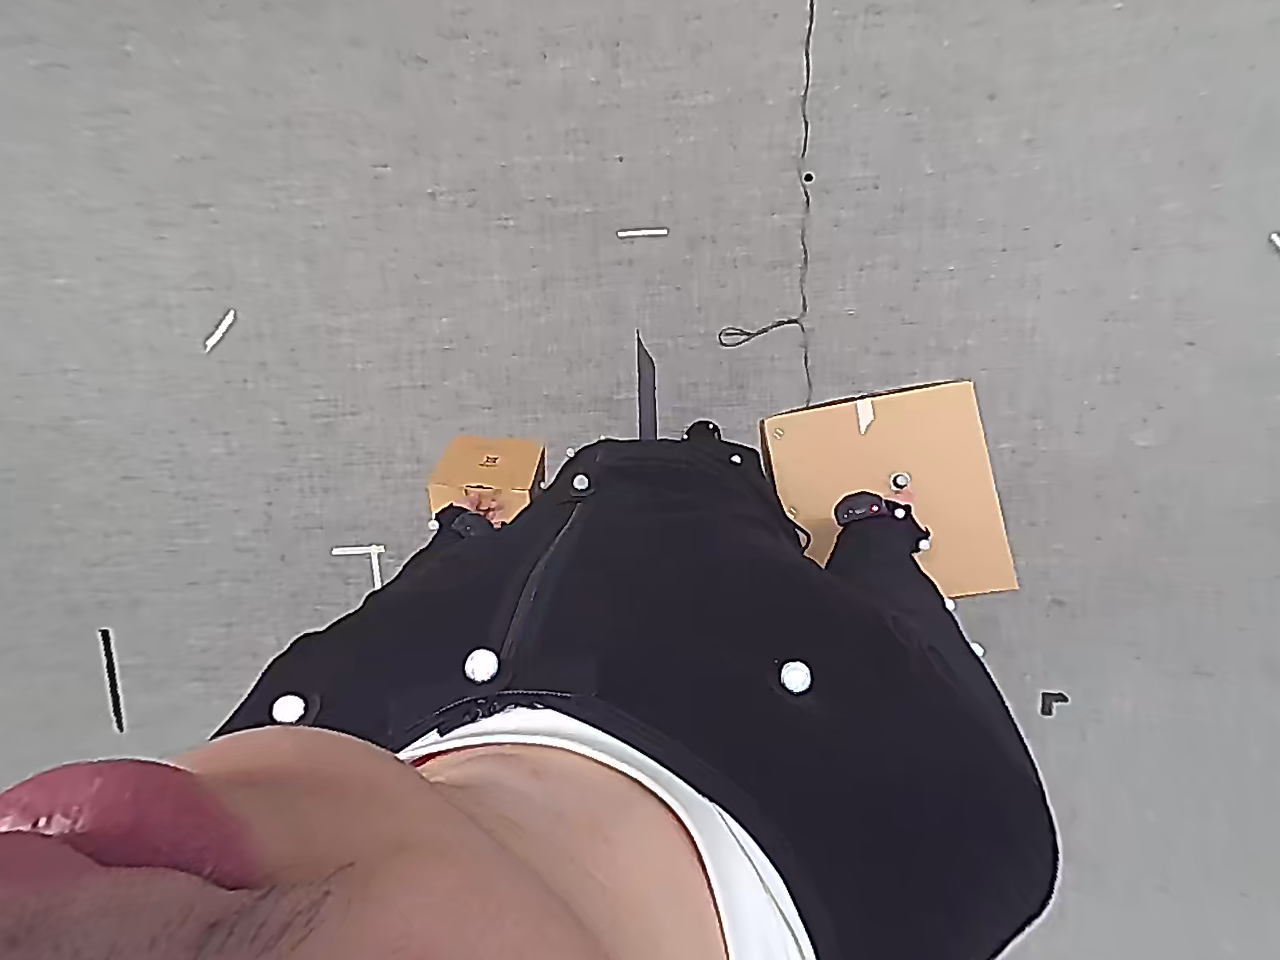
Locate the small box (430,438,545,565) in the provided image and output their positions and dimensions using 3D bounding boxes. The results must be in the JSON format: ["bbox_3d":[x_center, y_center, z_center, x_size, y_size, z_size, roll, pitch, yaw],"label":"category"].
[{"bbox_3d":[-0.268,0.039,0.997,0.168,0.179,0.176,5,121,-3],"label":"small box"}]
